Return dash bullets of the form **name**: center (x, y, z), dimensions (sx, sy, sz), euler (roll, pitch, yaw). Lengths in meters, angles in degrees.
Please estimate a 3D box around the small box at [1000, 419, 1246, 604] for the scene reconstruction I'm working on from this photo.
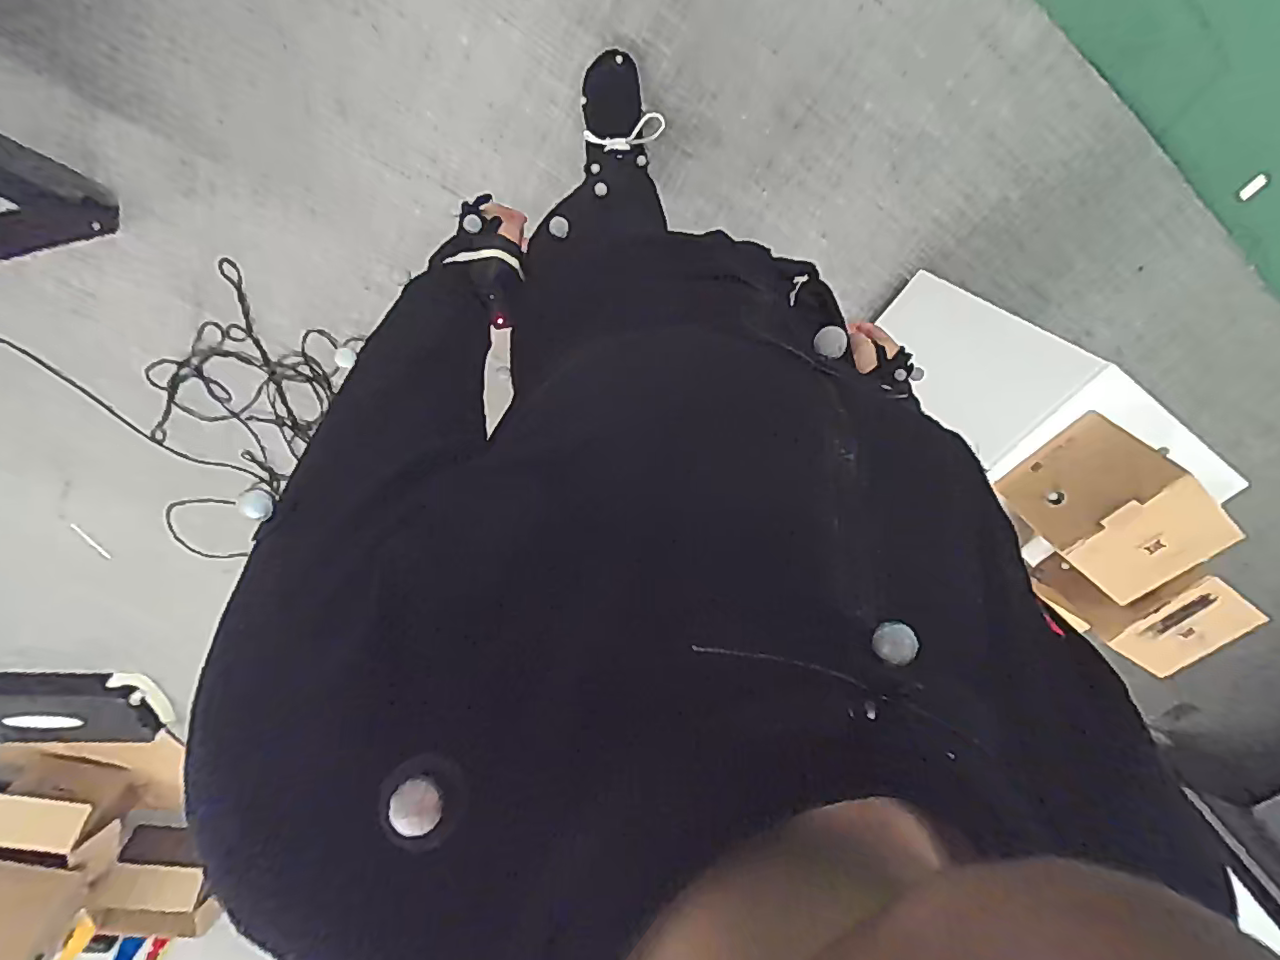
- **small box**: center (0.667, 0.038, 0.770), dimensions (0.179, 0.176, 0.168), euler (30, 119, -23)
